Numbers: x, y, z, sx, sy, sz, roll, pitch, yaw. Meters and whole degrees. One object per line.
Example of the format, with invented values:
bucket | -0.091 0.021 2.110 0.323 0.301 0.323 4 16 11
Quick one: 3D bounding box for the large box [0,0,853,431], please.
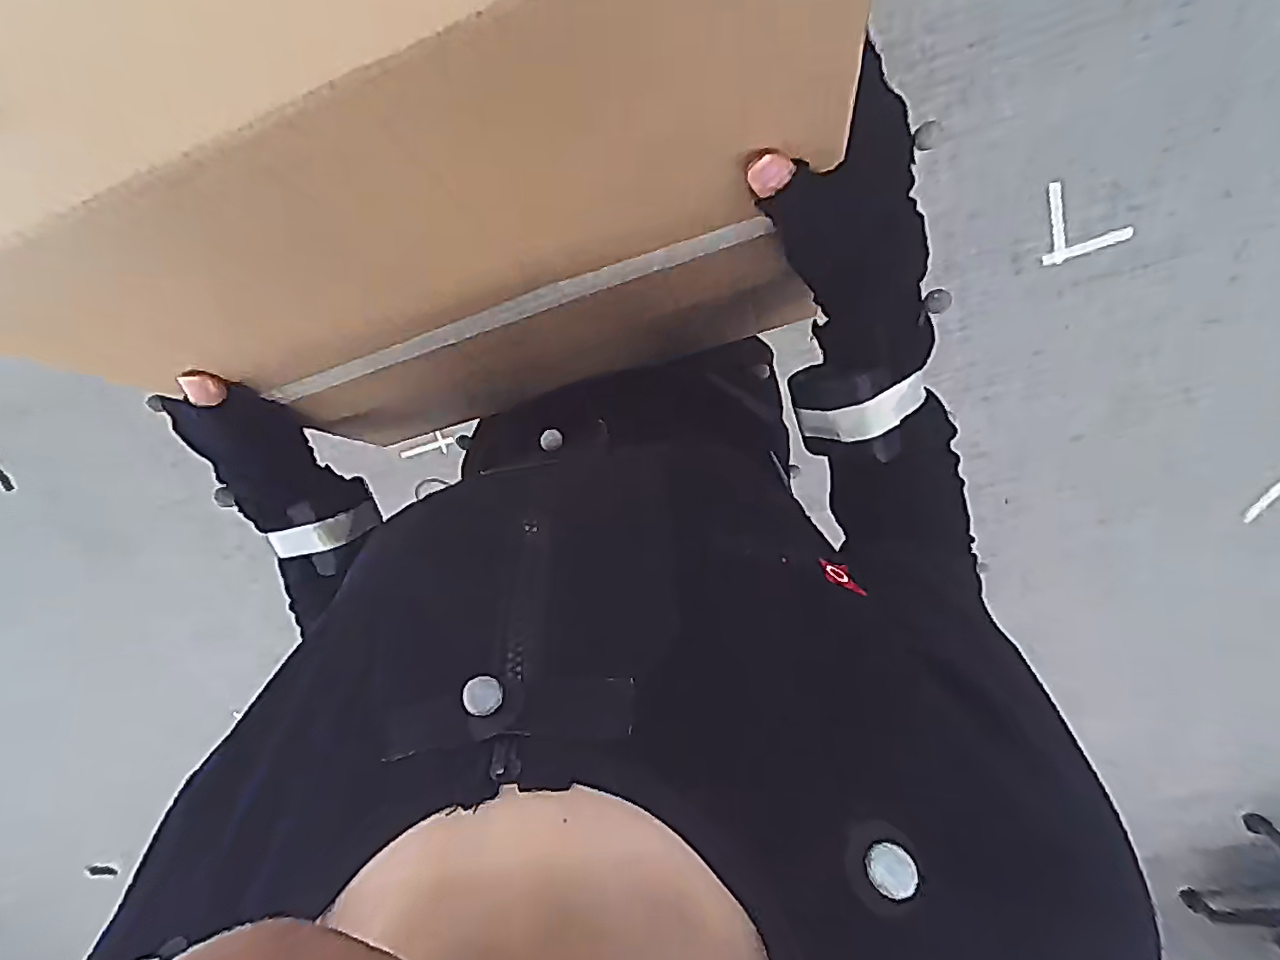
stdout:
large box | -0.119 -0.257 0.354 0.408 0.320 0.320 -15 81 12
